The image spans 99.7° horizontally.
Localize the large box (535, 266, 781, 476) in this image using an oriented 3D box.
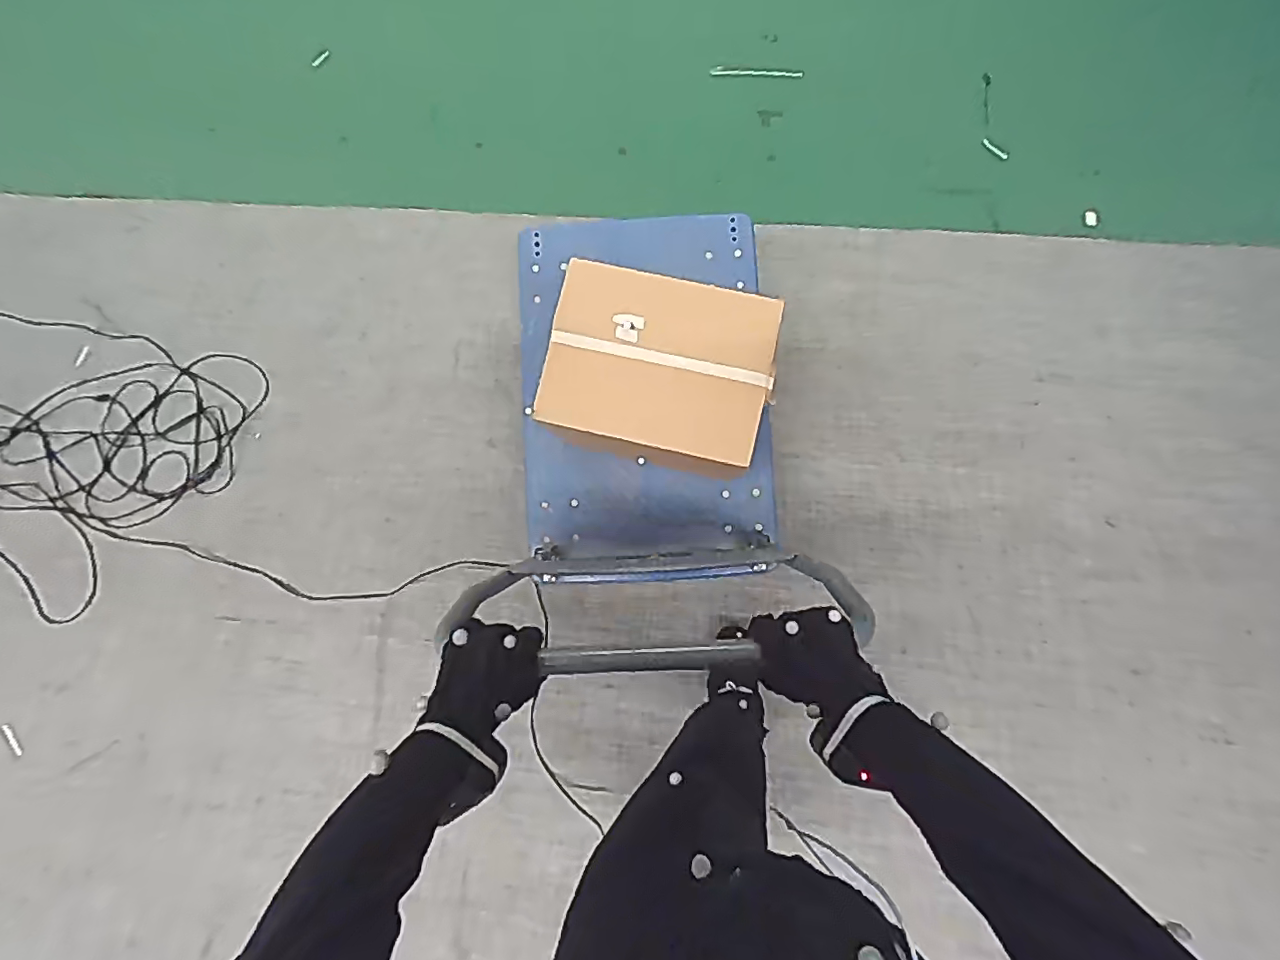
[{"bbox_3d":[0.044,-0.201,1.122,0.408,0.320,0.320,12,86,5],"label":"large box"}]
